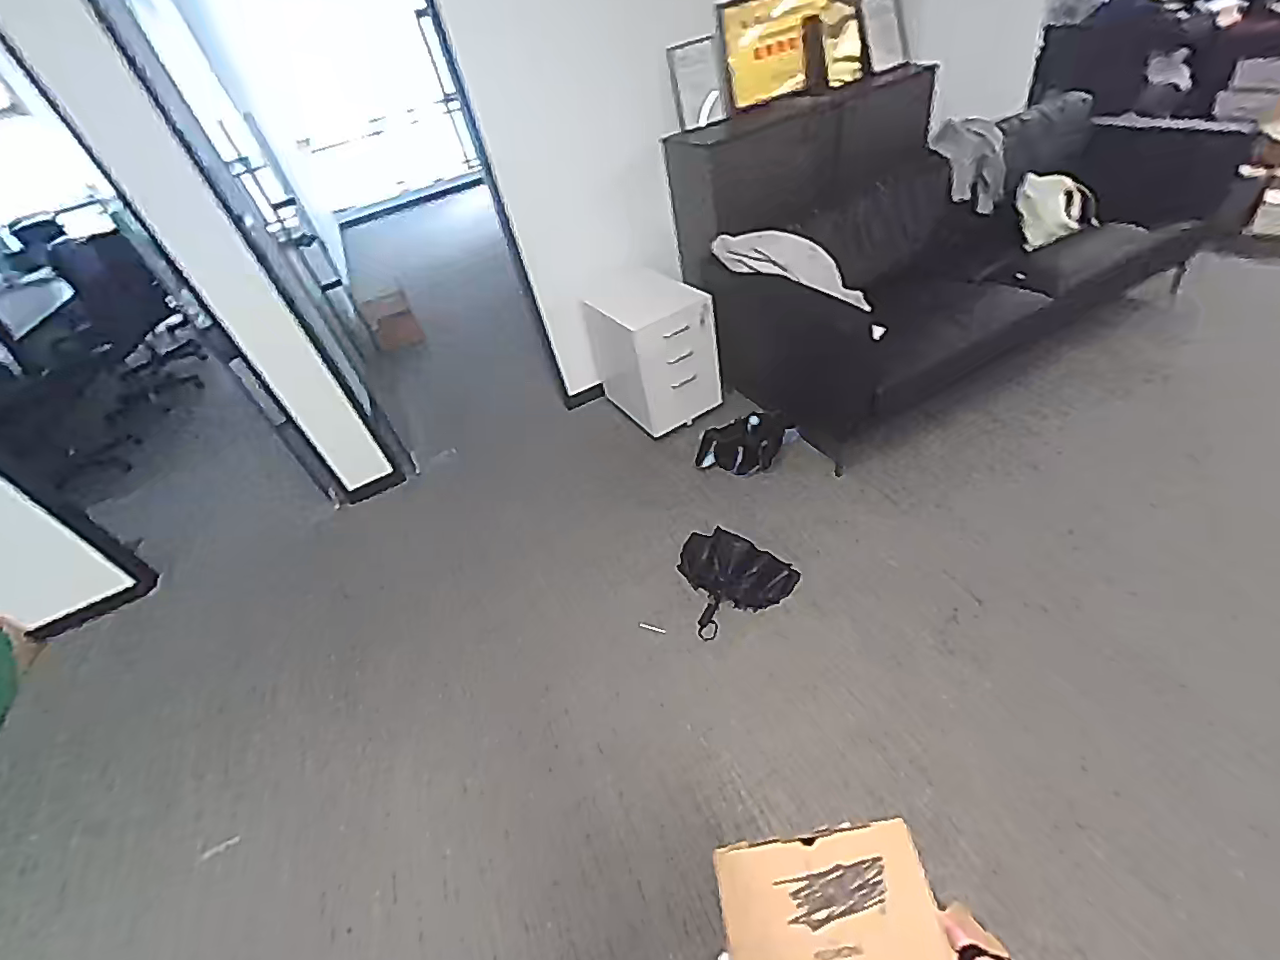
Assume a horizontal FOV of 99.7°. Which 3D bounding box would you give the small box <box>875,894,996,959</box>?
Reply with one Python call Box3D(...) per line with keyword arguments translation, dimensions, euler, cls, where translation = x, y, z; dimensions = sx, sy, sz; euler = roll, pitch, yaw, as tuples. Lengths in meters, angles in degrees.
Box3D(translation=(0.584, 0.967, 1.060), dimensions=(0.179, 0.176, 0.168), euler=(-29, 42, -15), cls="small box")
